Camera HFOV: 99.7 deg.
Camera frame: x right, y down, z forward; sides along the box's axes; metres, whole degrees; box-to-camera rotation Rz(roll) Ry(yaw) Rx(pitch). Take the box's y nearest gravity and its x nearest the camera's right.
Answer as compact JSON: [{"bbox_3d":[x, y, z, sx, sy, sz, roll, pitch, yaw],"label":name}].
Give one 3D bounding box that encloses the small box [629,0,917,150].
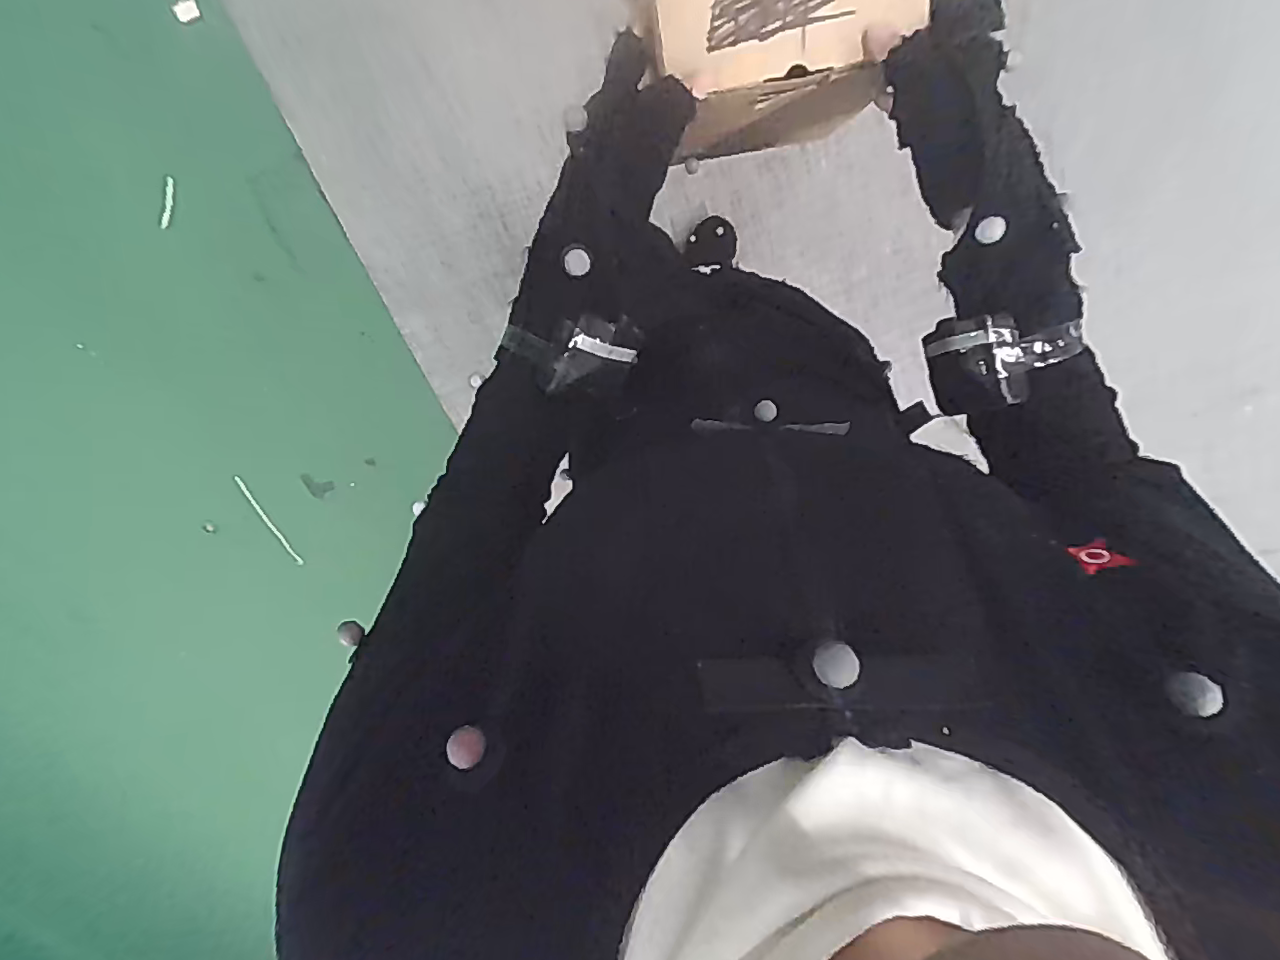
[{"bbox_3d":[0.078,-0.362,0.391,0.168,0.176,0.179,-10,106,1],"label":"small box"}]
